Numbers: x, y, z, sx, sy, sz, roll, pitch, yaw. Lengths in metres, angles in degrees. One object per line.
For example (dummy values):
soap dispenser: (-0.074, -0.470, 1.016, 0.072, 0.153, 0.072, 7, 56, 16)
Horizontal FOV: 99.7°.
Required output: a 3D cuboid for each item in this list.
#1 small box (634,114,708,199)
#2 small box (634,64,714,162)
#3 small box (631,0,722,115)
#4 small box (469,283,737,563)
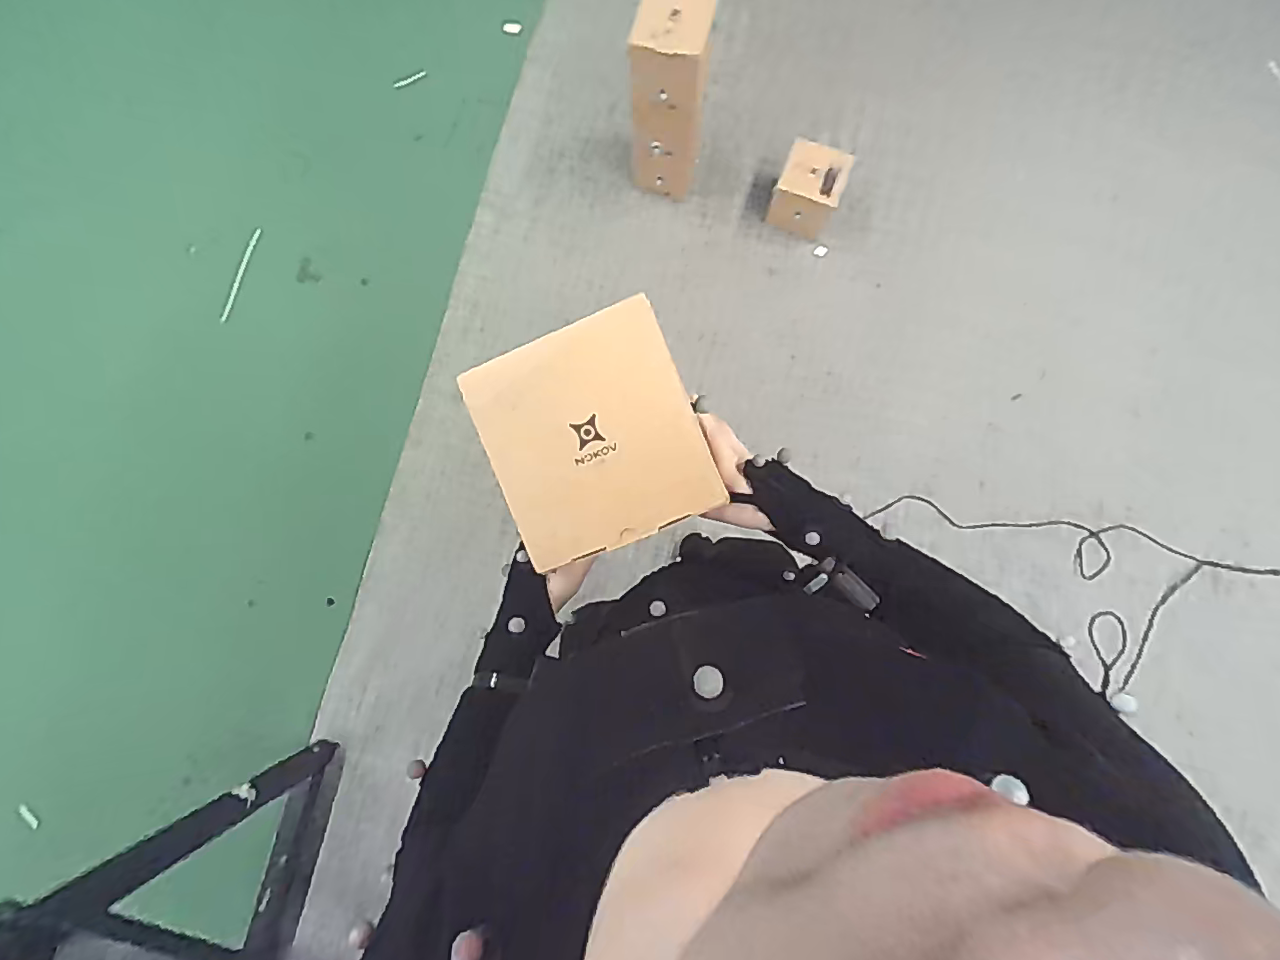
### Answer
small box: (0.092, -0.964, 1.580, 0.168, 0.176, 0.179, 18, 84, 4)
small box: (0.088, -0.983, 1.419, 0.168, 0.176, 0.179, 15, 84, 5)
small box: (0.083, -1.002, 1.255, 0.168, 0.176, 0.179, 15, 83, 6)
small box: (-0.022, -0.047, 0.495, 0.168, 0.176, 0.179, -21, 92, 9)
